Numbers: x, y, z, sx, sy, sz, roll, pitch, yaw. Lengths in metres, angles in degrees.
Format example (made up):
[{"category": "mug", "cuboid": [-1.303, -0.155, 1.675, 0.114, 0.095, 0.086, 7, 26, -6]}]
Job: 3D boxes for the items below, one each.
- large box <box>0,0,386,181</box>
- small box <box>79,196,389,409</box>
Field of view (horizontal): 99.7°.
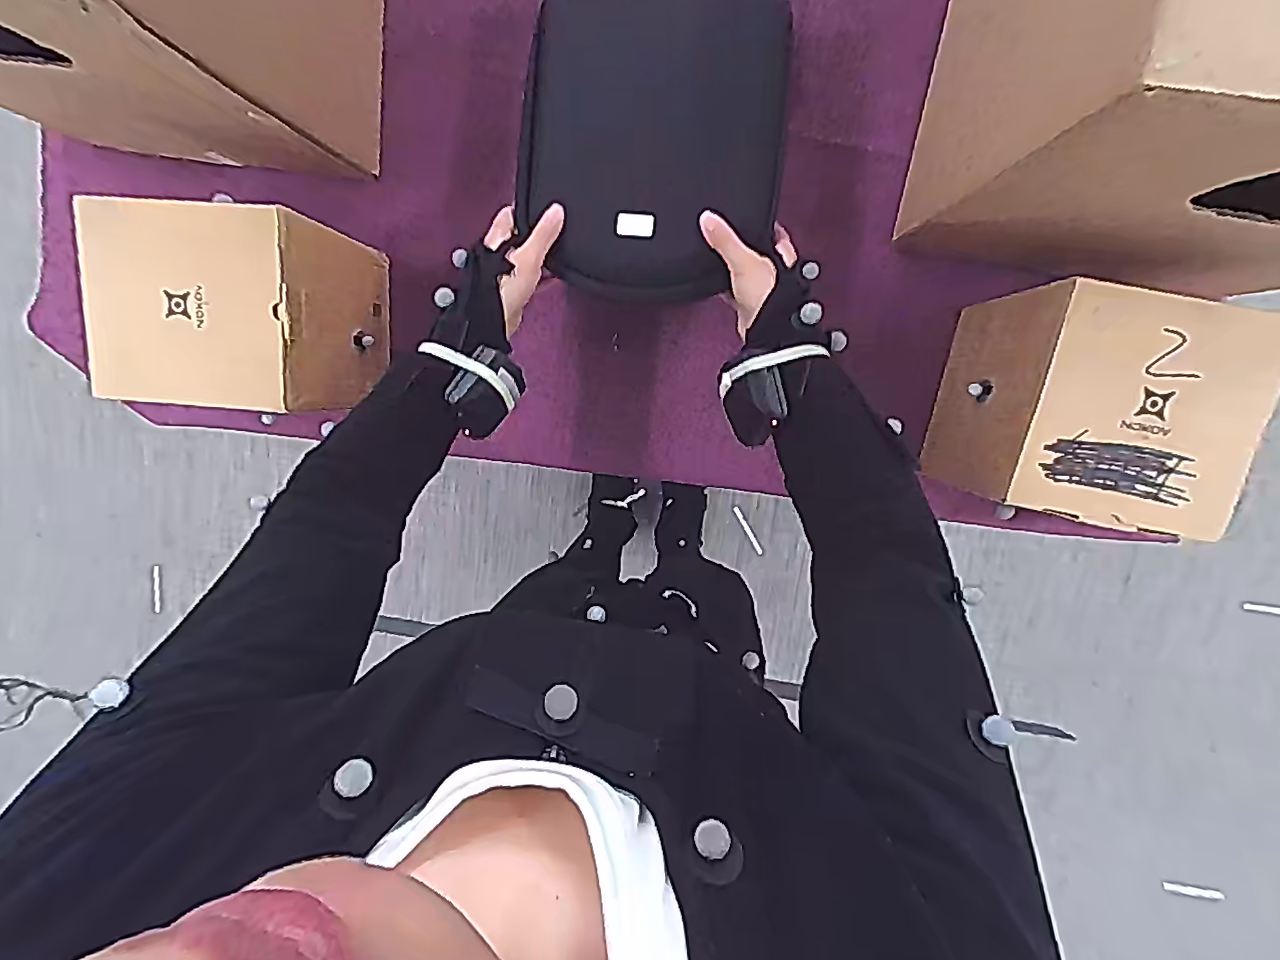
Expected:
[{"category": "large box", "cuboid": [-0.407, -0.500, 0.398, 0.320, 0.320, 0.408, 7, 102, 1]}, {"category": "small box", "cuboid": [-0.373, -0.157, 0.528, 0.179, 0.176, 0.168, 4, 99, 2]}]
